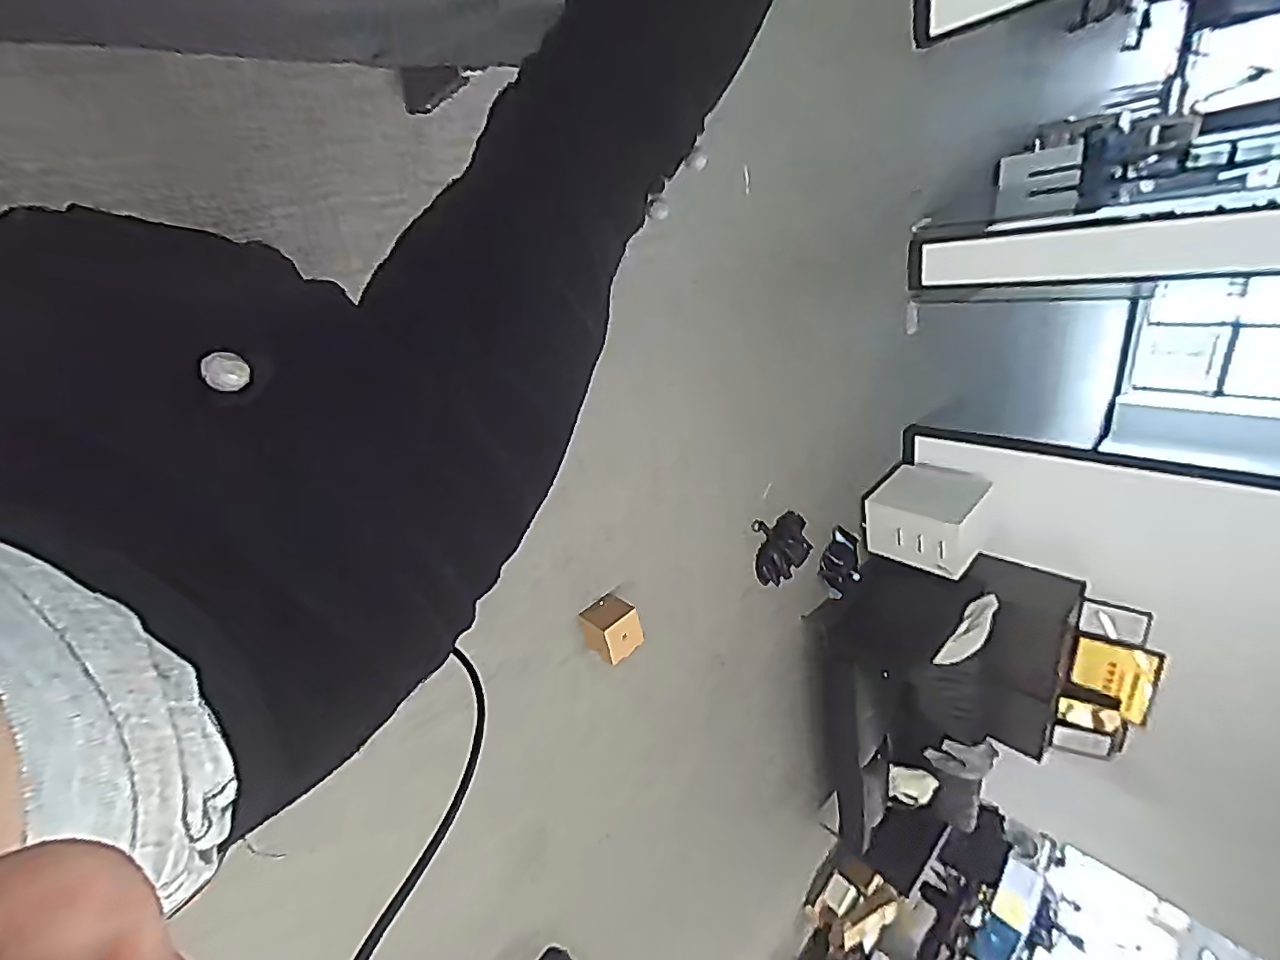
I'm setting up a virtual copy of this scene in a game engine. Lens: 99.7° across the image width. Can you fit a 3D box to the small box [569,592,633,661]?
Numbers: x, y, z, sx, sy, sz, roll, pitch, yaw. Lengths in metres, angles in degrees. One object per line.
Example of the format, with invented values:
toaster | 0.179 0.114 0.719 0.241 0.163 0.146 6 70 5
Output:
small box | -0.154 0.575 2.143 0.168 0.176 0.179 -33 122 -34
